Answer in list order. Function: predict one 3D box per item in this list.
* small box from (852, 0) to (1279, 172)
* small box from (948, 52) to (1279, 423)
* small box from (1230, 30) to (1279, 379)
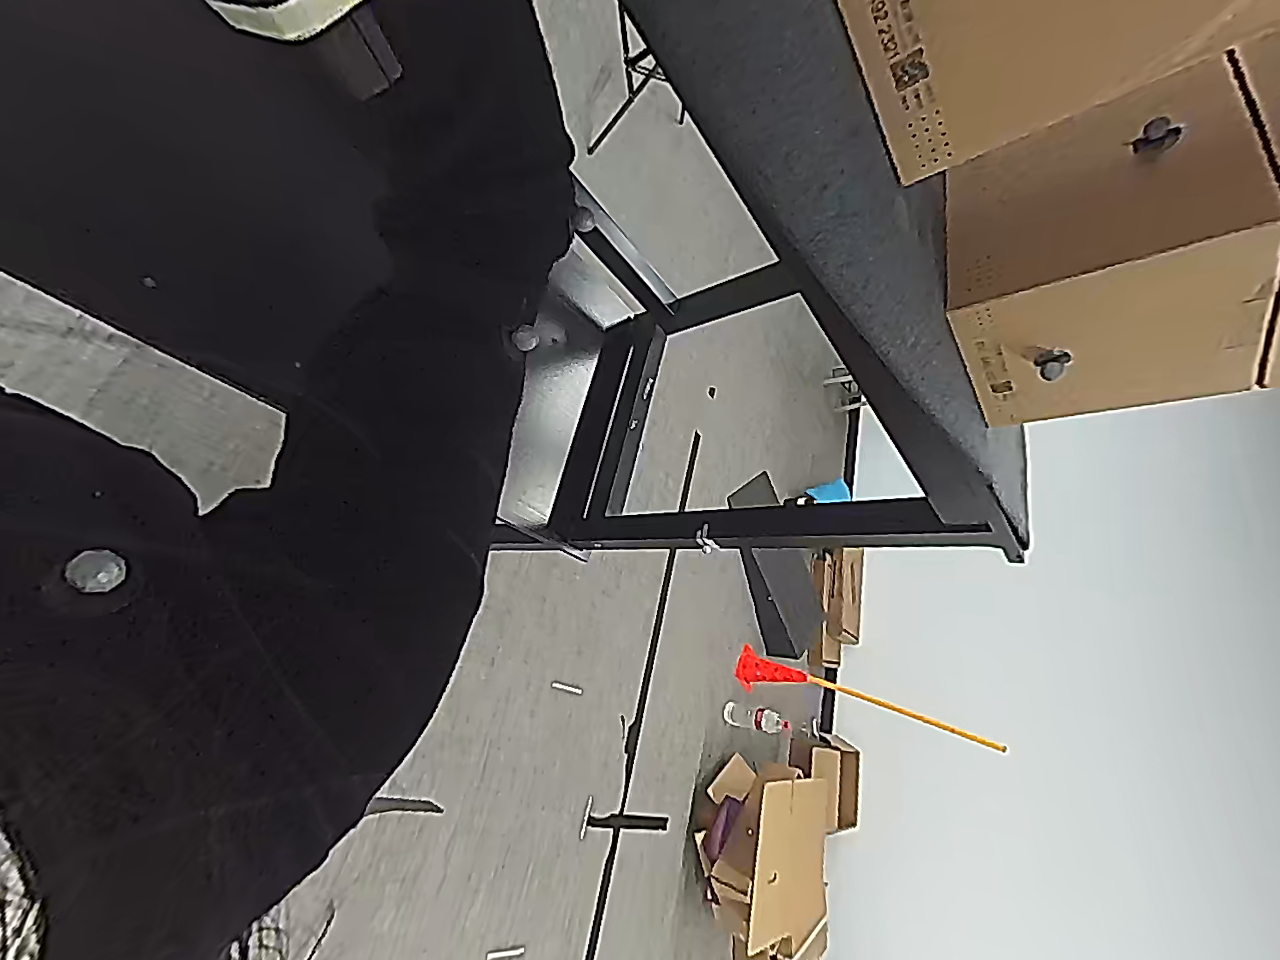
[{"bbox_3d":[0.188,-0.289,0.247,0.168,0.176,0.179,36,56,-42],"label":"small box"},{"bbox_3d":[0.355,-0.169,0.429,0.168,0.176,0.179,37,58,-40],"label":"small box"},{"bbox_3d":[0.481,-0.185,0.326,0.168,0.176,0.179,38,57,-40],"label":"small box"}]
